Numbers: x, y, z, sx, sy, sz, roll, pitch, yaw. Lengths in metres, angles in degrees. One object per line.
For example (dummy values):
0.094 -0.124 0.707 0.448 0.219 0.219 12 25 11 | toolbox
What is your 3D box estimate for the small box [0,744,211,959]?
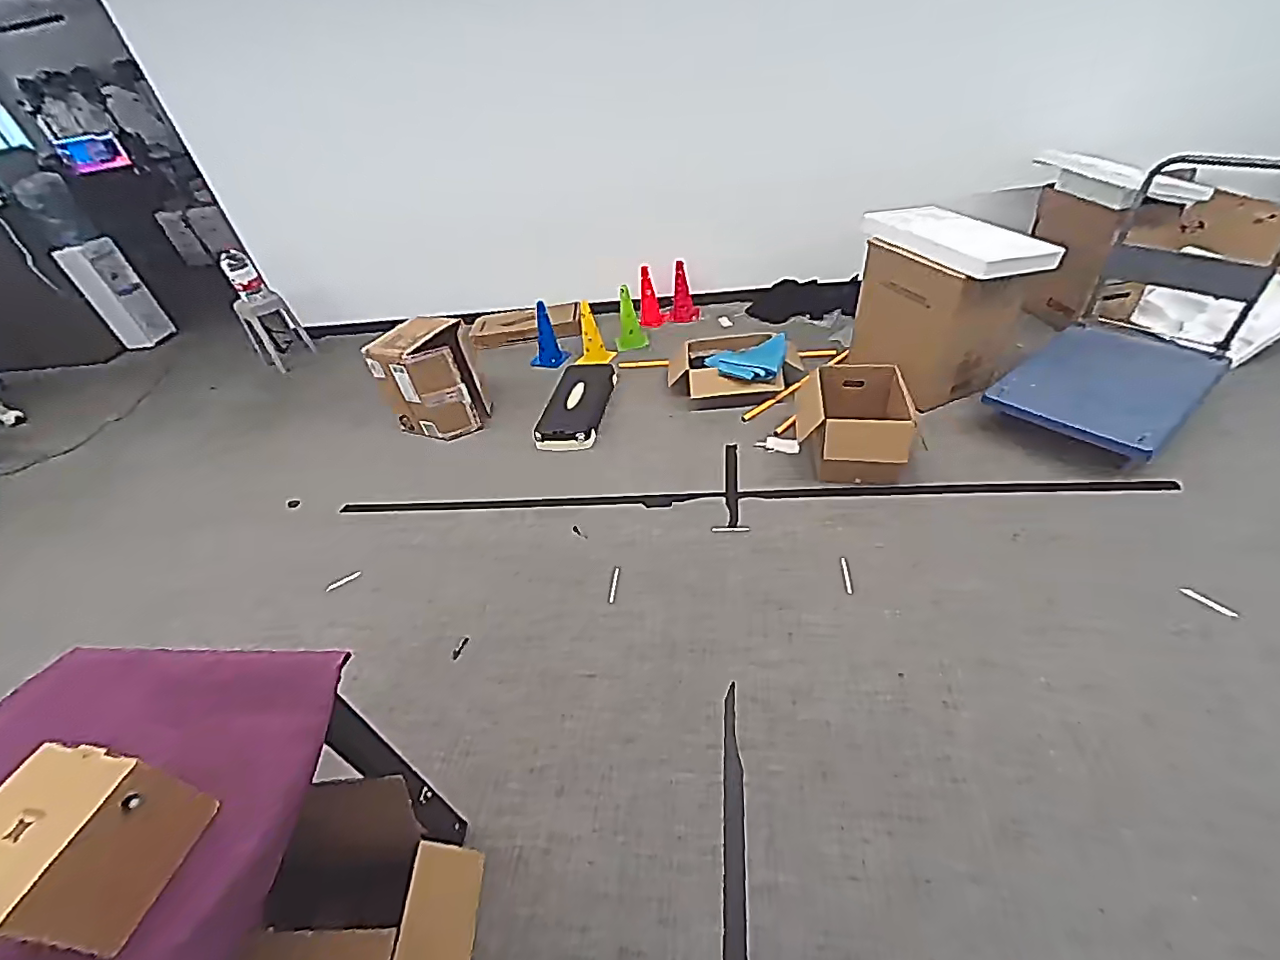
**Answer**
-0.709 0.466 0.681 0.168 0.176 0.179 1 41 13 | small box
